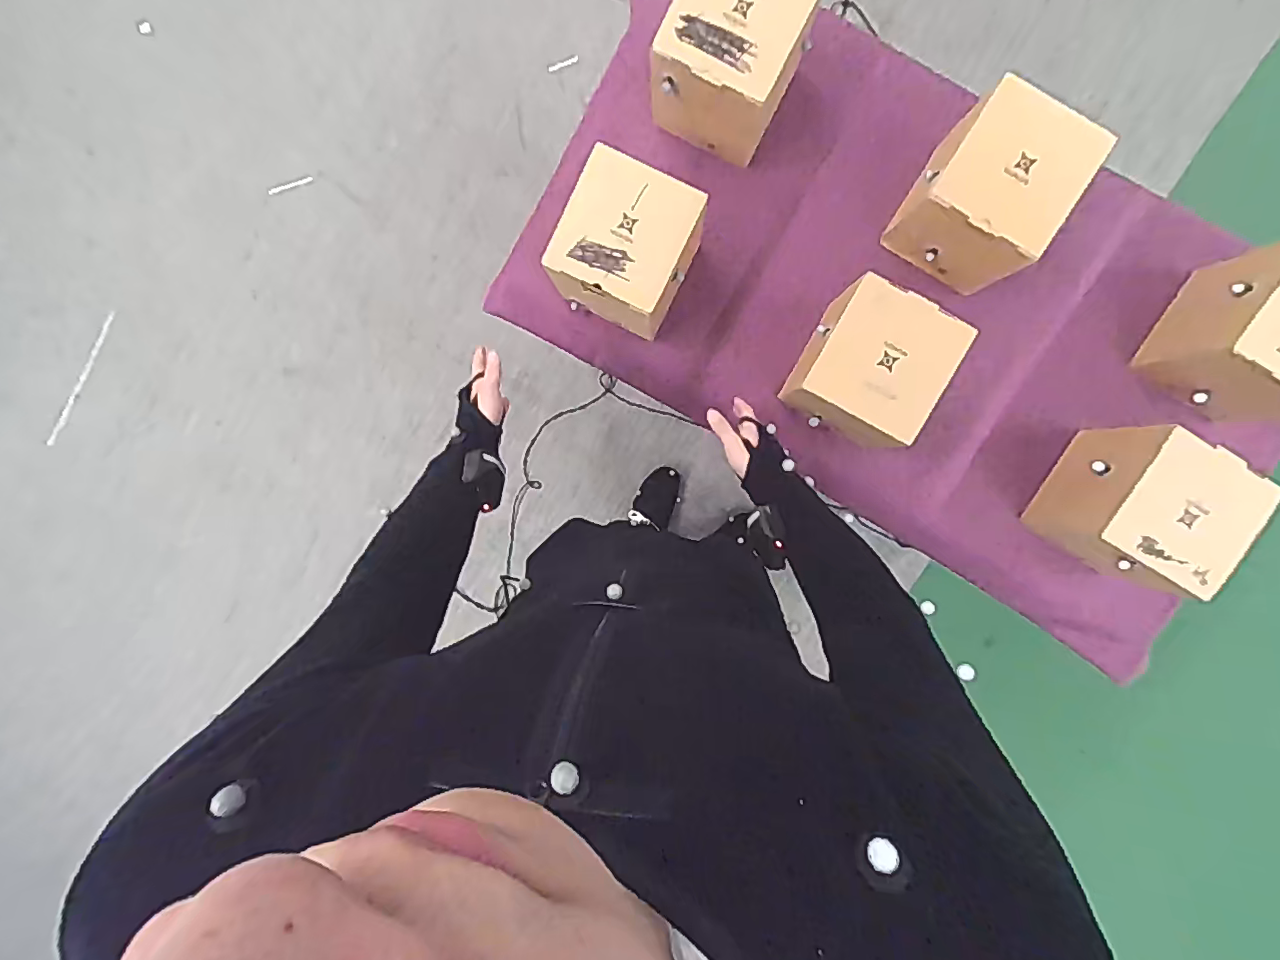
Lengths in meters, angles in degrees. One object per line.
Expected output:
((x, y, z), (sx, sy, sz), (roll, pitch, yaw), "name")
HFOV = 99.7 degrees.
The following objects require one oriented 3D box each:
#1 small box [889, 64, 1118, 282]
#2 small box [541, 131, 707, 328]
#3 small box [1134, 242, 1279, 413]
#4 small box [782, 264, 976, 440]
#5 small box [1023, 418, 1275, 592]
((0.488, -0.411, 0.760), (0.168, 0.176, 0.179), (31, 97, -1), "small box")
((-0.019, -0.343, 0.782), (0.168, 0.176, 0.179), (26, 94, 0), "small box")
((0.867, -0.210, 0.757), (0.168, 0.176, 0.179), (32, 96, 2), "small box")
((0.328, -0.173, 0.785), (0.168, 0.176, 0.179), (30, 95, 0), "small box")
((0.714, 0.029, 0.784), (0.168, 0.176, 0.179), (32, 93, 1), "small box")
